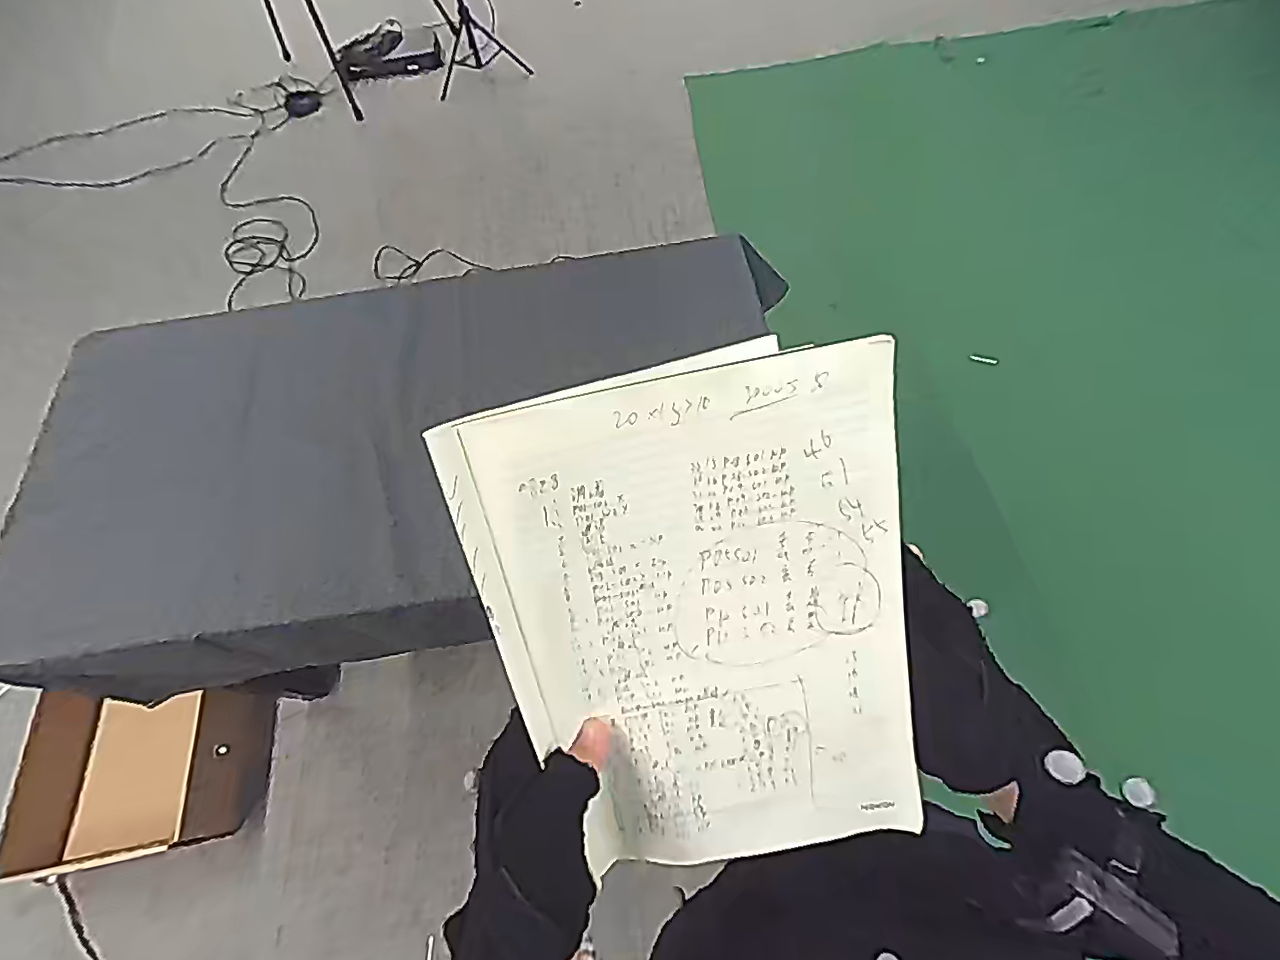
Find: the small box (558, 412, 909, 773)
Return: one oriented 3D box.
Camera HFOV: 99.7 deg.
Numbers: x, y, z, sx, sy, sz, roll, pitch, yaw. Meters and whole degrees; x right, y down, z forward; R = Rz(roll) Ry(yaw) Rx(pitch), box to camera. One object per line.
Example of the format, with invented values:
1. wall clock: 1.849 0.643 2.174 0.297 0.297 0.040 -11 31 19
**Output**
1. small box: 0.055 0.075 0.401 0.168 0.176 0.179 -20 81 0
